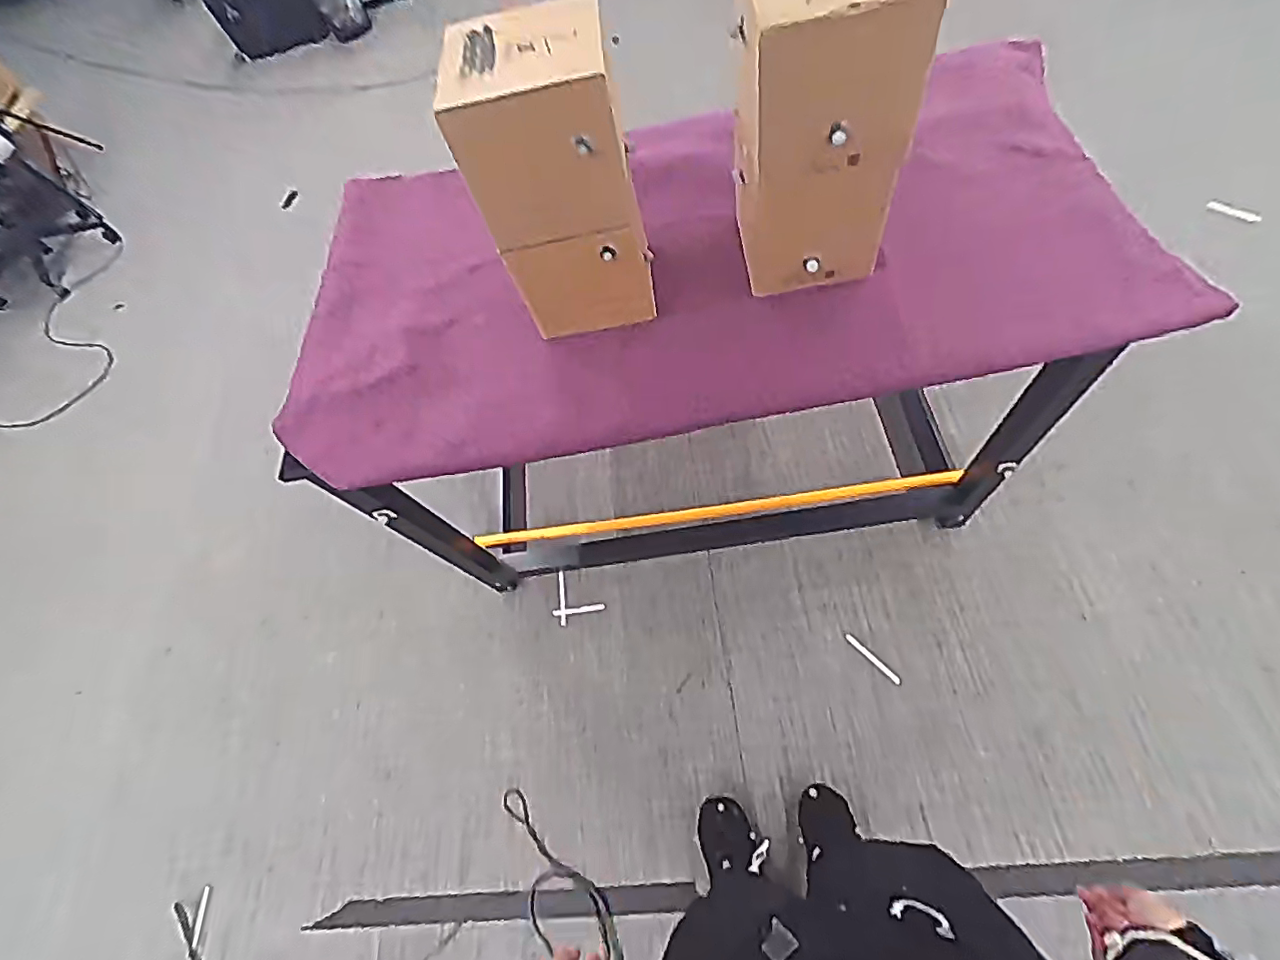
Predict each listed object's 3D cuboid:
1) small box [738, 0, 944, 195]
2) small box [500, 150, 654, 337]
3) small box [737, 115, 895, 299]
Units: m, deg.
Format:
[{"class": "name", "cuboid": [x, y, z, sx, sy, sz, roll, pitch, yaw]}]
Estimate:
[{"class": "small box", "cuboid": [0.199, -0.453, 0.593, 0.168, 0.176, 0.179, -8, 63, 9]}, {"class": "small box", "cuboid": [-0.083, -0.328, 0.778, 0.179, 0.176, 0.168, -9, 62, 6]}, {"class": "small box", "cuboid": [0.224, -0.381, 0.739, 0.168, 0.176, 0.179, -8, 63, 8]}]
